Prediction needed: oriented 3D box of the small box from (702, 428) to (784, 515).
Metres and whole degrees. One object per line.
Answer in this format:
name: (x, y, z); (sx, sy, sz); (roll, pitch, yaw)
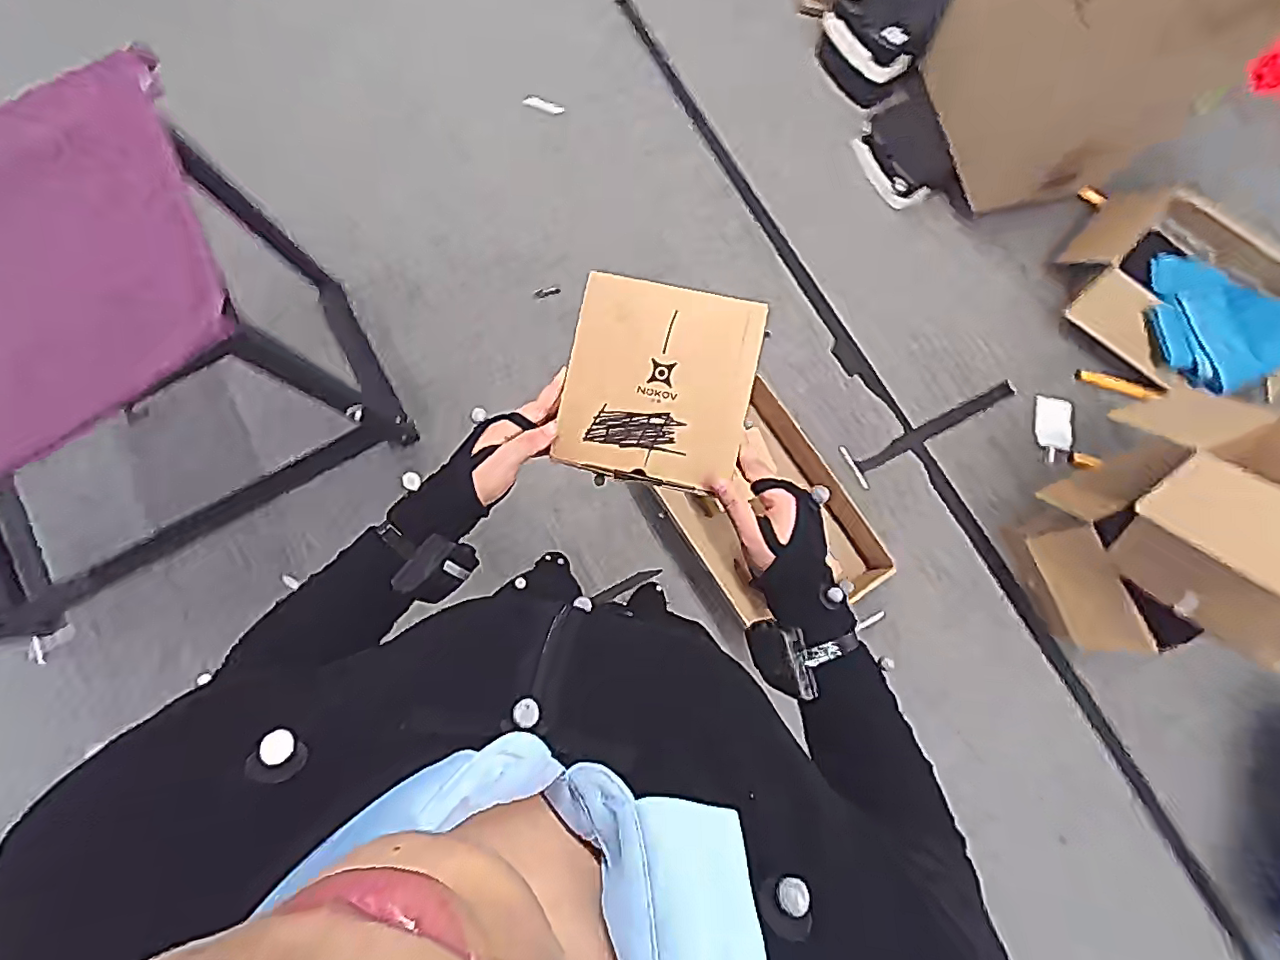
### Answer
small box: (0.248, -0.017, 1.418); (0.179, 0.176, 0.168); (-22, 82, -3)

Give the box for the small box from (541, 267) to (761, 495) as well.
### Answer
small box: (0.013, -0.085, 0.554); (0.168, 0.176, 0.179); (13, 88, 2)
